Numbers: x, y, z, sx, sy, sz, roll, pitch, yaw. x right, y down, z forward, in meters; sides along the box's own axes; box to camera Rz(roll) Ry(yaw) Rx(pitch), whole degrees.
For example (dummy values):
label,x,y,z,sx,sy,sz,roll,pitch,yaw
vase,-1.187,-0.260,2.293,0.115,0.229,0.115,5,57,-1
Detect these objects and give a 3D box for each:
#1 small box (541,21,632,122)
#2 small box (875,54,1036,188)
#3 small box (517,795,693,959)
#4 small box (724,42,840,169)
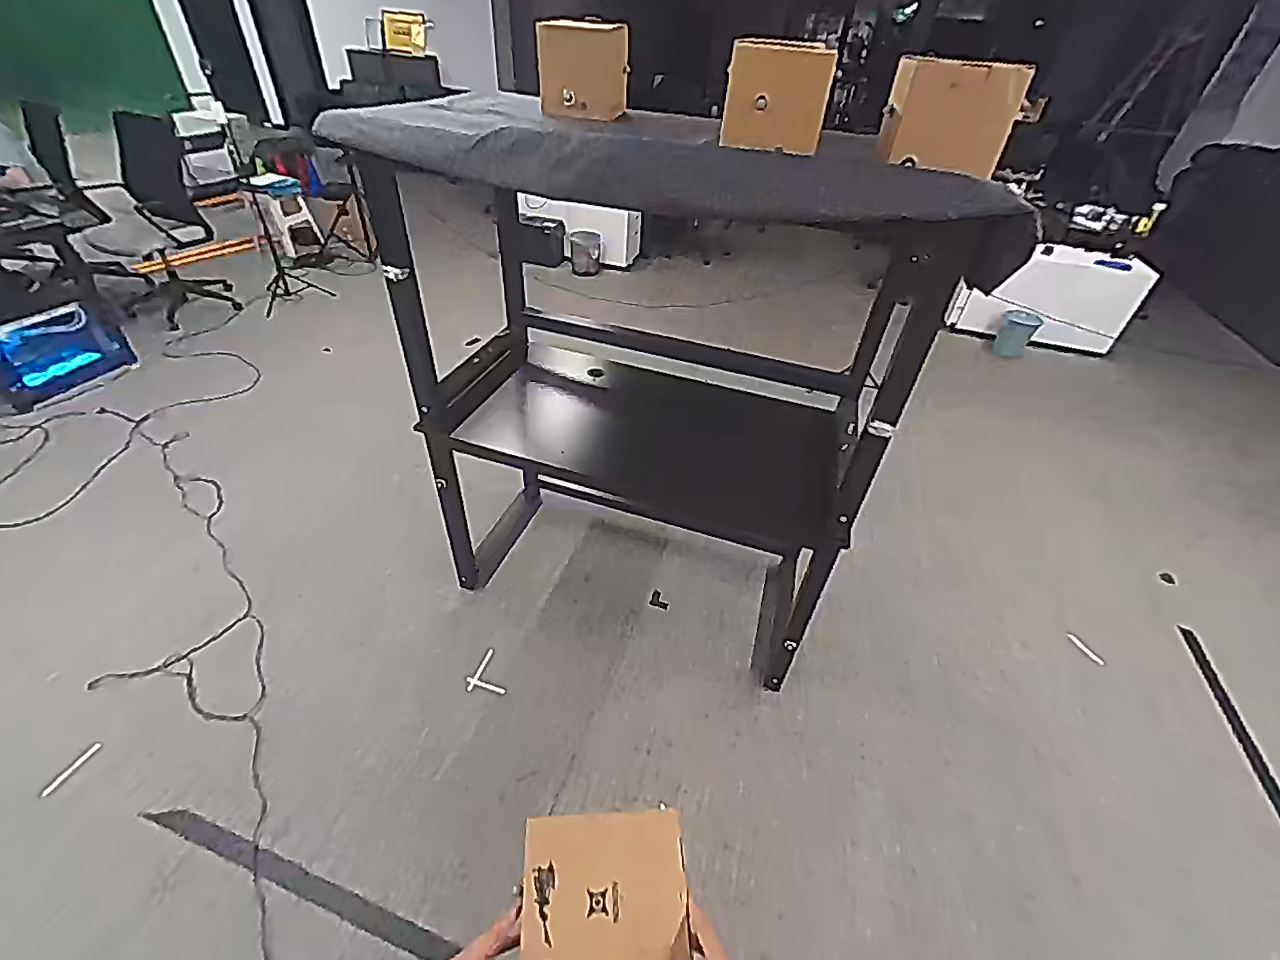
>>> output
label,x,y,z,sx,sy,sz,roll,pitch,yaw
small box,-0.120,-0.946,1.253,0.168,0.176,0.179,9,41,7
small box,0.510,-0.600,0.904,0.168,0.176,0.179,11,40,8
small box,-0.045,0.479,0.633,0.179,0.176,0.168,0,50,-6
small box,0.251,-0.669,0.966,0.168,0.176,0.179,13,40,10
